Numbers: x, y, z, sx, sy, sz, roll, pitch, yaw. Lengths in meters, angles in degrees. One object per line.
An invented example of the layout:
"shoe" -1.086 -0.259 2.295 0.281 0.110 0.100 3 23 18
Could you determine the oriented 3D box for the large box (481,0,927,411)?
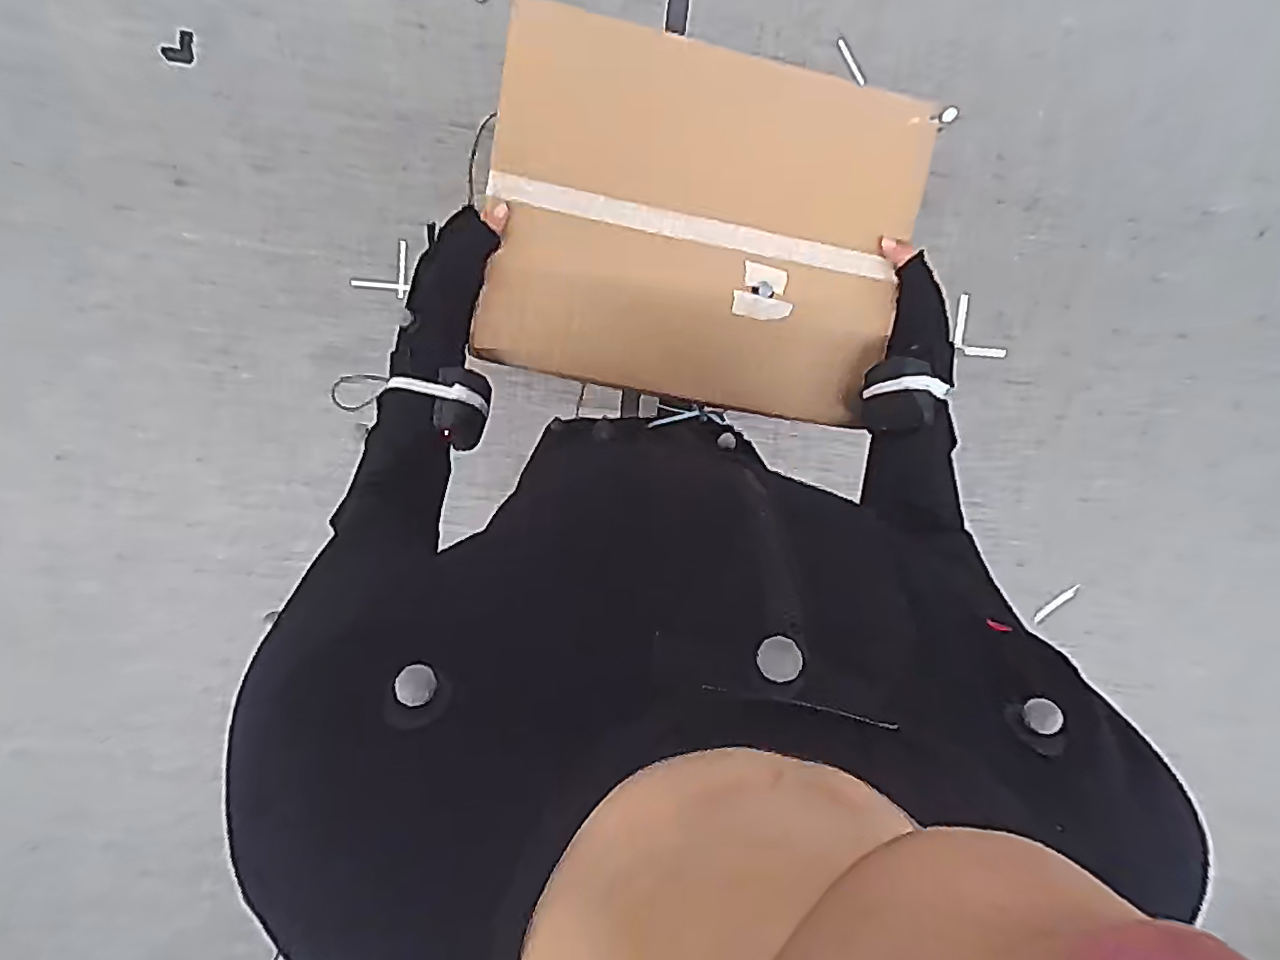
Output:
"large box" 0.046 -0.274 0.670 0.408 0.320 0.320 9 100 -8
